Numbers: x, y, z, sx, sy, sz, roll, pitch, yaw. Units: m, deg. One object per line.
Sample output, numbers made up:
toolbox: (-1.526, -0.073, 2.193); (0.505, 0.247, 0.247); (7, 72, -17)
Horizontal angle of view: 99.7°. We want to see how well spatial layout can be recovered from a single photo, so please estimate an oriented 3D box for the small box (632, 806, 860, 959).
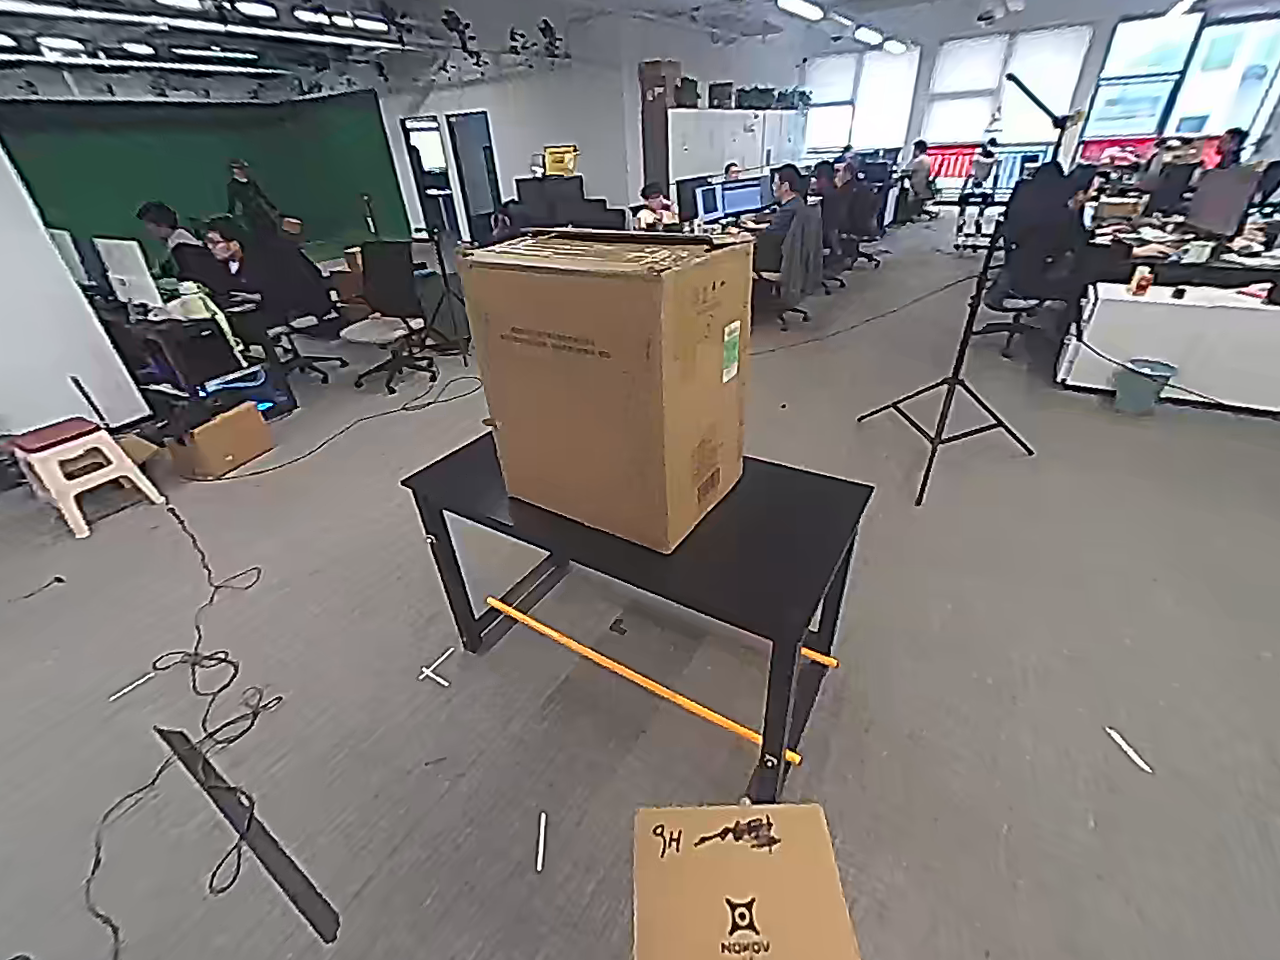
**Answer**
small box: (0.081, 0.399, 0.447); (0.168, 0.176, 0.179); (-3, 38, 1)
